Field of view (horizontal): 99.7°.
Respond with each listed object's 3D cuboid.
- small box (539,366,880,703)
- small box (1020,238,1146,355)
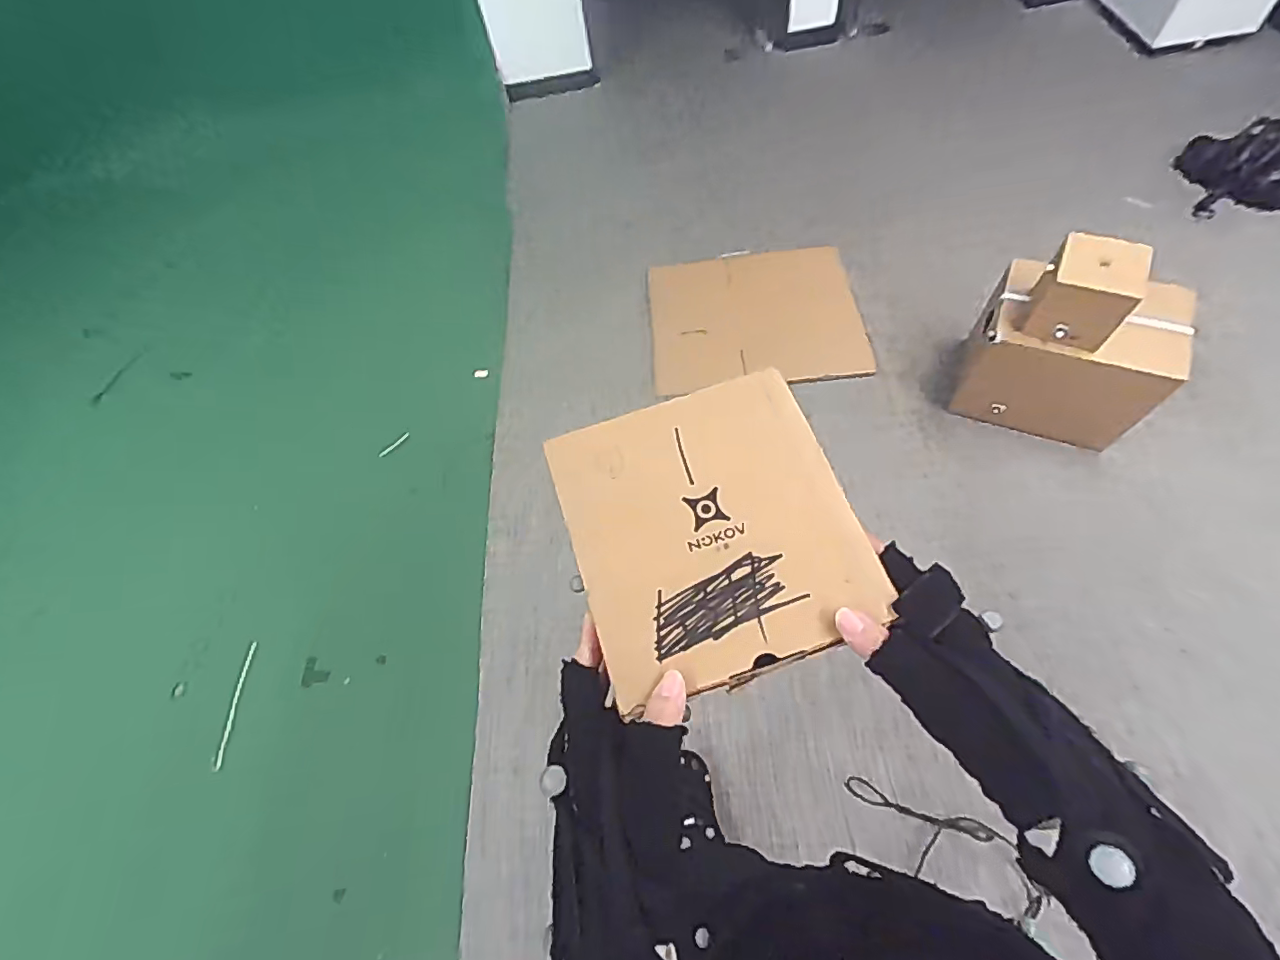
[{"bbox_3d":[0.041,0.052,0.403,0.168,0.176,0.179,-18,67,-3],"label":"small box"},{"bbox_3d":[1.027,-0.427,1.264,0.168,0.176,0.179,21,67,20],"label":"small box"}]
